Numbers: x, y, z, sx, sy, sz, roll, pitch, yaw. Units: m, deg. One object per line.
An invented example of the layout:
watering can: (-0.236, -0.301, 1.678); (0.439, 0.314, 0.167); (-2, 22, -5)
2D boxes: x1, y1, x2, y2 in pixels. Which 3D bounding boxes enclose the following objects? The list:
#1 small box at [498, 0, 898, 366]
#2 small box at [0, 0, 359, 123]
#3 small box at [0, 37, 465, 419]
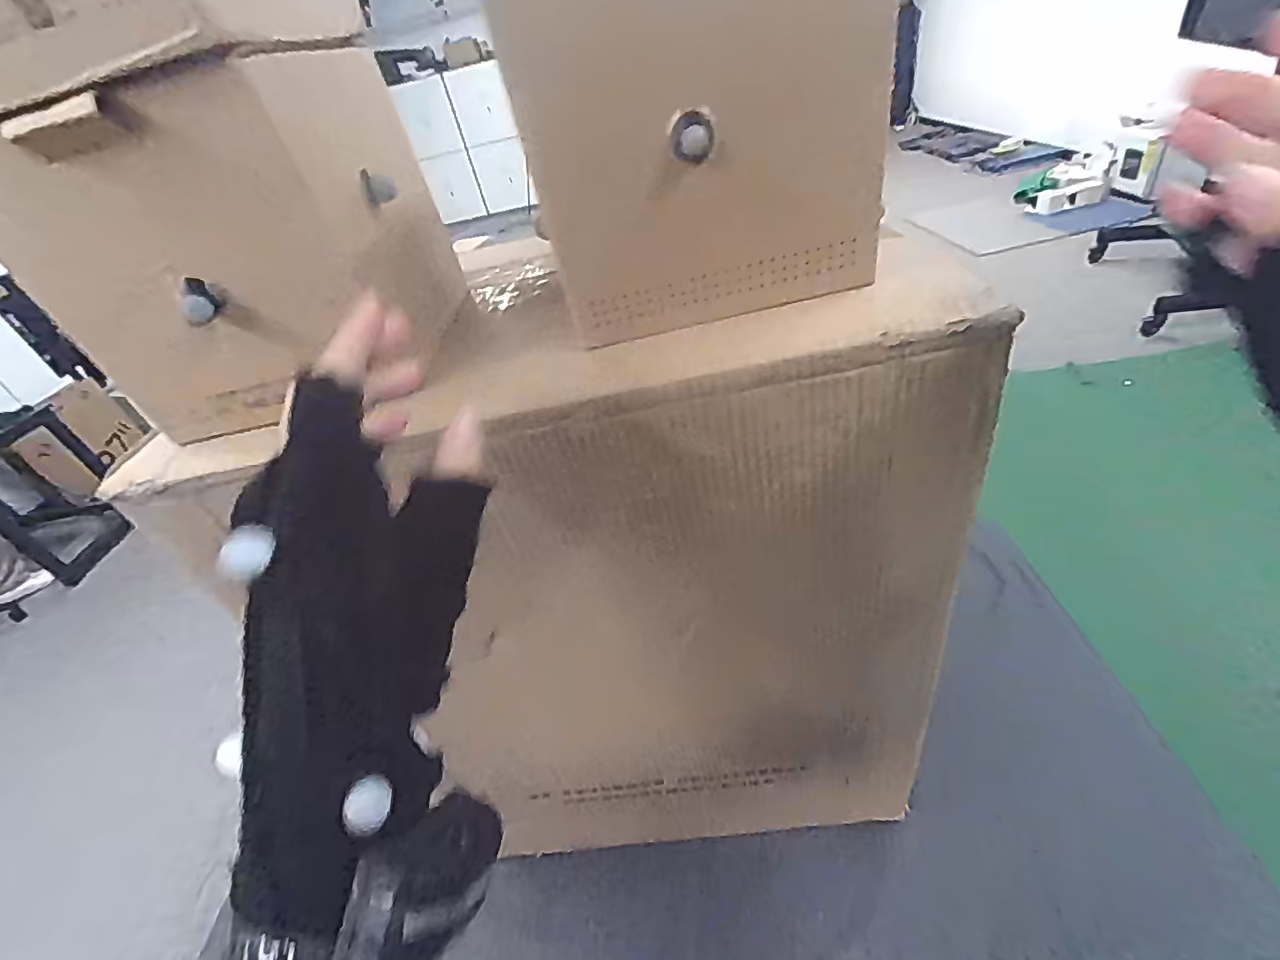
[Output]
small box: (0.032, -0.194, 0.338); (0.179, 0.176, 0.168); (-12, 39, 3)
small box: (-0.260, -0.271, 0.238); (0.168, 0.176, 0.179); (-10, 39, 5)
small box: (-0.231, -0.154, 0.347); (0.168, 0.176, 0.179); (-11, 40, 4)
